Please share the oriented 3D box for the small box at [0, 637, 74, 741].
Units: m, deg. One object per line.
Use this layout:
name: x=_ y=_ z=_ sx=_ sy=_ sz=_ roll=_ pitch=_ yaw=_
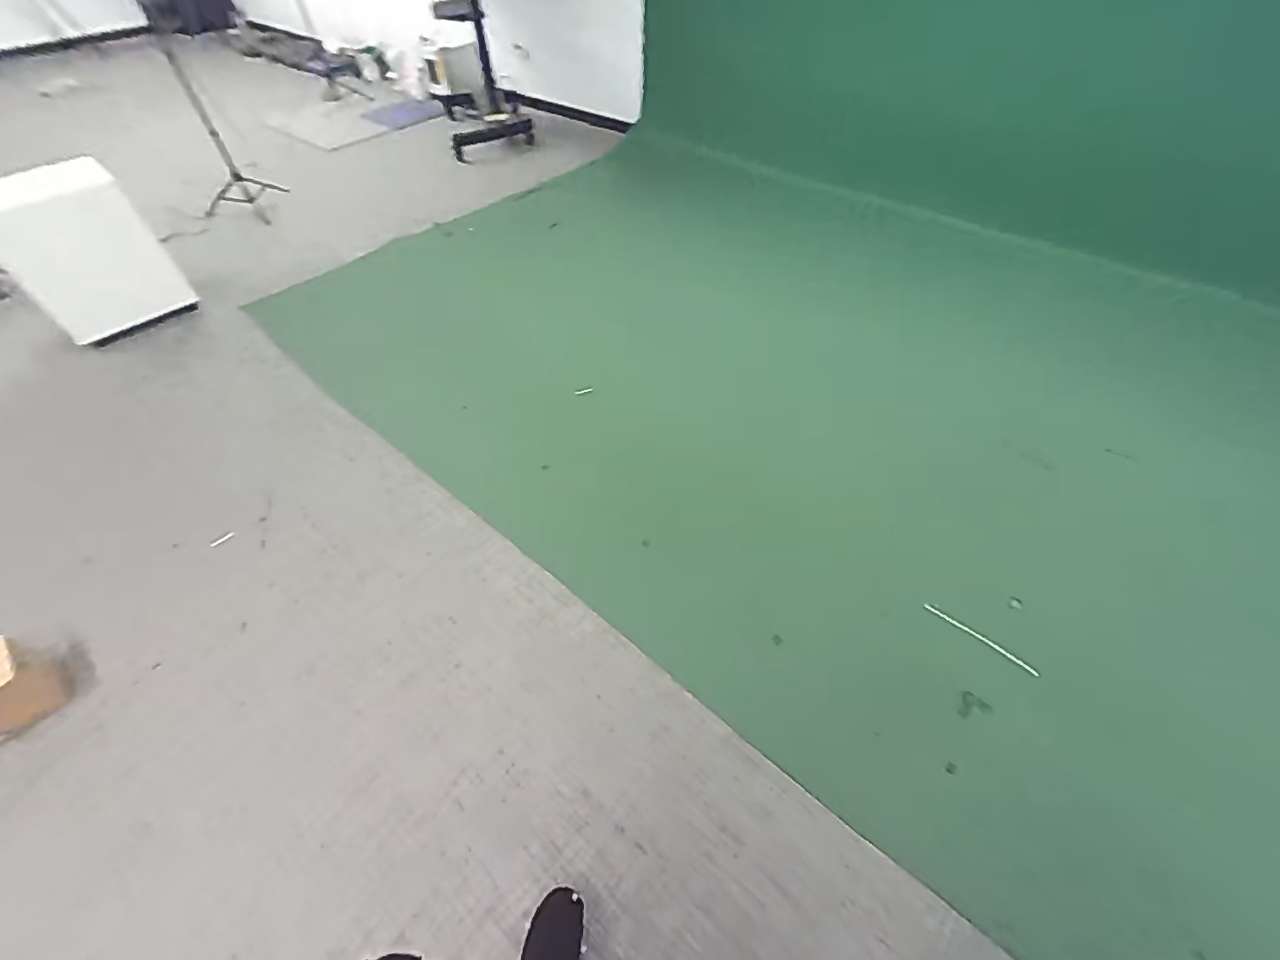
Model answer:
small box: x=-1.647 y=0.553 z=1.411 sx=0.179 sy=0.176 sz=0.168 roll=36 pitch=60 yaw=28
